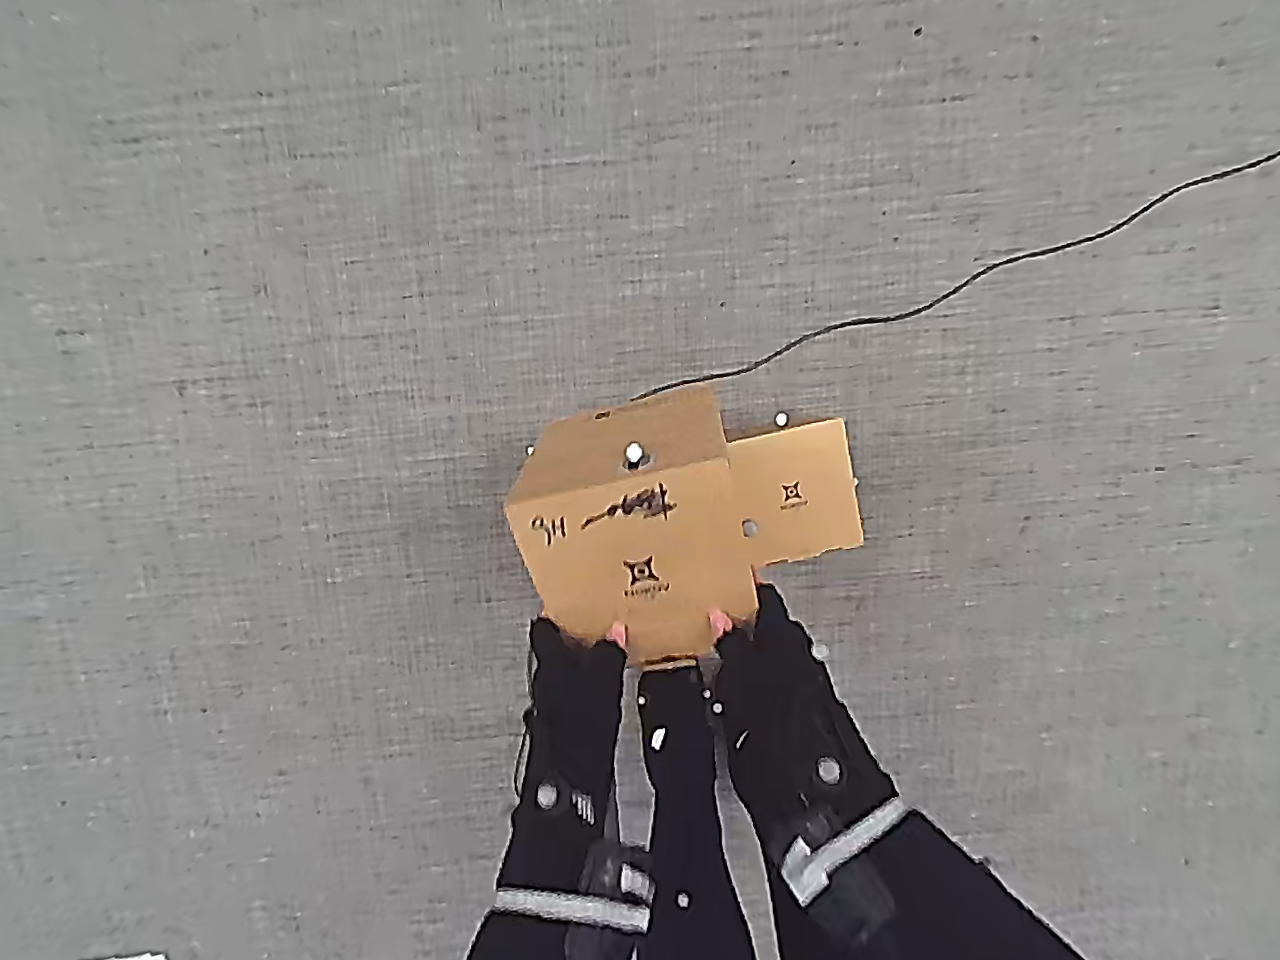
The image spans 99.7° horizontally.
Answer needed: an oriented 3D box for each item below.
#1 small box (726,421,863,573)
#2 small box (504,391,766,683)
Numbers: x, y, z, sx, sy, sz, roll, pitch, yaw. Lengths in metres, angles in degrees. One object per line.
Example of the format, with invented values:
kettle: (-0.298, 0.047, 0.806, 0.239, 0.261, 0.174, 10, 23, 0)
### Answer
small box: (0.198, 0.015, 0.788, 0.168, 0.176, 0.179, -13, 98, 2)
small box: (0.007, 0.044, 0.476, 0.168, 0.176, 0.179, -13, 117, 9)
